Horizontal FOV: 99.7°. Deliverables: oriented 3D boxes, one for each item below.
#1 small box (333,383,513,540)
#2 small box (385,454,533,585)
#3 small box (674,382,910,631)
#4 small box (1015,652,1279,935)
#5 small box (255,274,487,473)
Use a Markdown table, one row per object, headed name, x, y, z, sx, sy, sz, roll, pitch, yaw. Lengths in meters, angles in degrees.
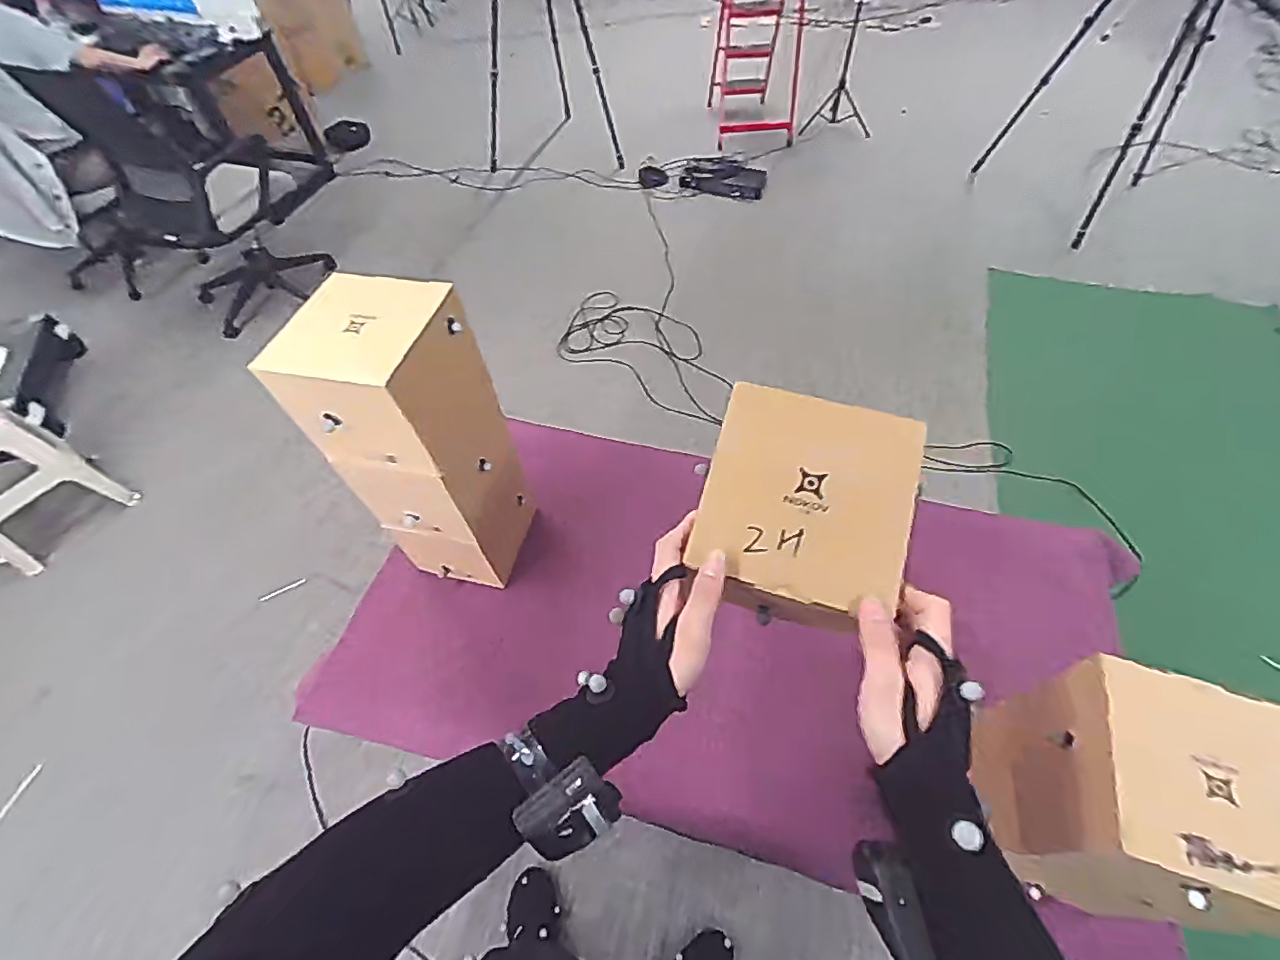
| name | x | y | z | sx | sy | sz | roll | pitch | yaw |
| --- | --- | --- | --- | --- | --- | --- | --- | --- | --- |
| small box | -0.304 | -0.036 | 0.809 | 0.168 | 0.176 | 0.179 | 9 | 57 | 10 |
| small box | -0.299 | 0.059 | 0.942 | 0.168 | 0.176 | 0.179 | 10 | 57 | 10 |
| small box | 0.135 | 0.036 | 0.526 | 0.168 | 0.176 | 0.179 | 16 | 74 | 11 |
| small box | 0.494 | 0.302 | 0.527 | 0.168 | 0.176 | 0.179 | 16 | 56 | 15 |
| small box | -0.312 | -0.129 | 0.676 | 0.168 | 0.176 | 0.179 | 9 | 55 | 10 |
